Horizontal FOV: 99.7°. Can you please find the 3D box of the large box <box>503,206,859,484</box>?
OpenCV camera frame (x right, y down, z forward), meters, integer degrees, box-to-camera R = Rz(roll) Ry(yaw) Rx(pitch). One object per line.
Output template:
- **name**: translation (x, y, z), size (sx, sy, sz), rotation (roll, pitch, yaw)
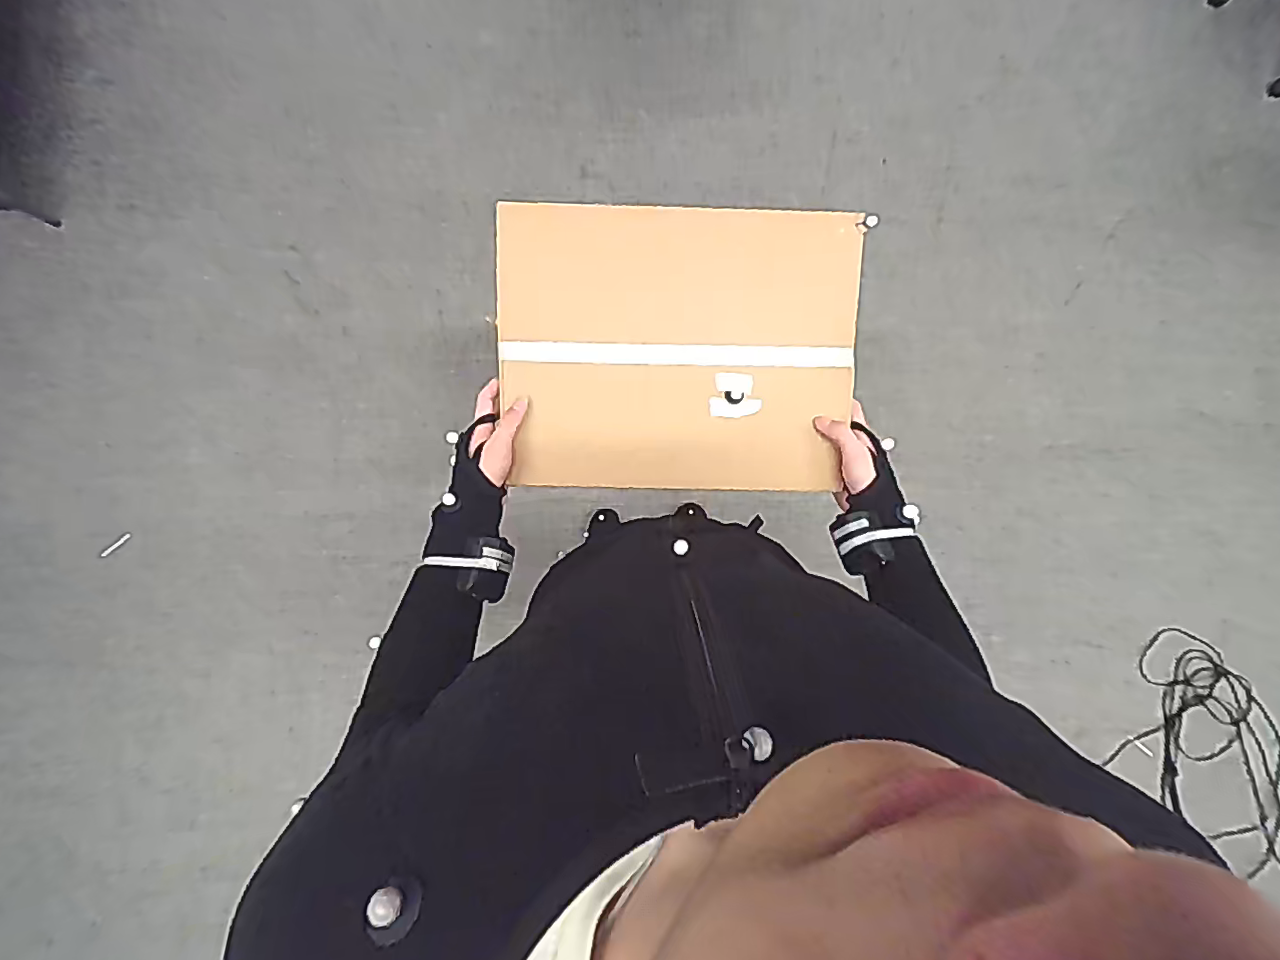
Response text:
- **large box**: translation (0.042, -0.174, 0.769), size (0.408, 0.320, 0.320), rotation (0, 100, -2)
